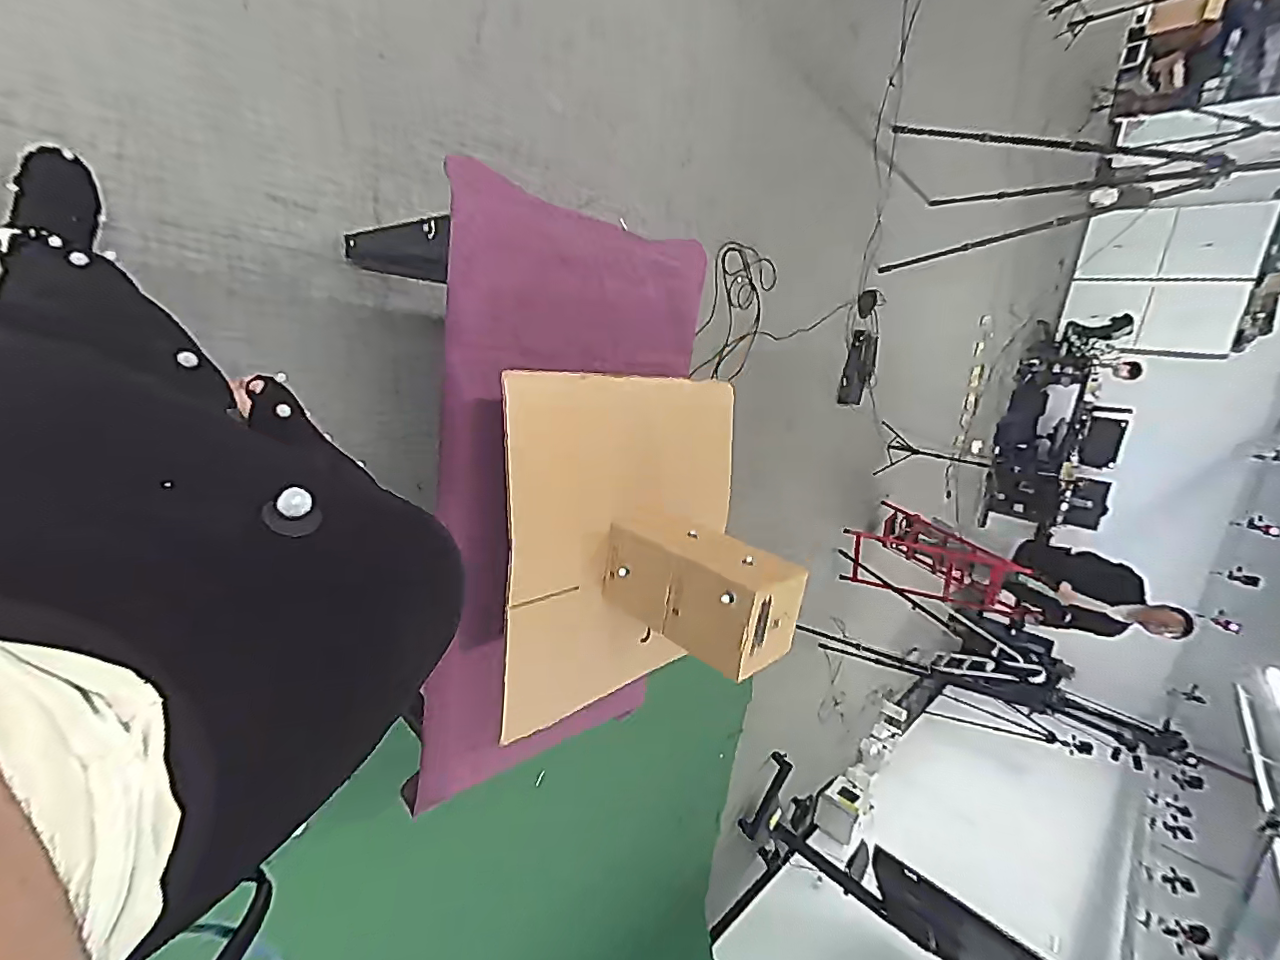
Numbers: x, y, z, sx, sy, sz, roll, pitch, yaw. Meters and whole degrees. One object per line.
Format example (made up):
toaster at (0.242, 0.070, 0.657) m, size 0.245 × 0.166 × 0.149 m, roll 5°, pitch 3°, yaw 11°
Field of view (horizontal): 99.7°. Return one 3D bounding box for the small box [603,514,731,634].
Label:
small box at (0.052, 0.176, 1.078) m, size 0.179 × 0.176 × 0.168 m, roll -6°, pitch 110°, yaw -44°
